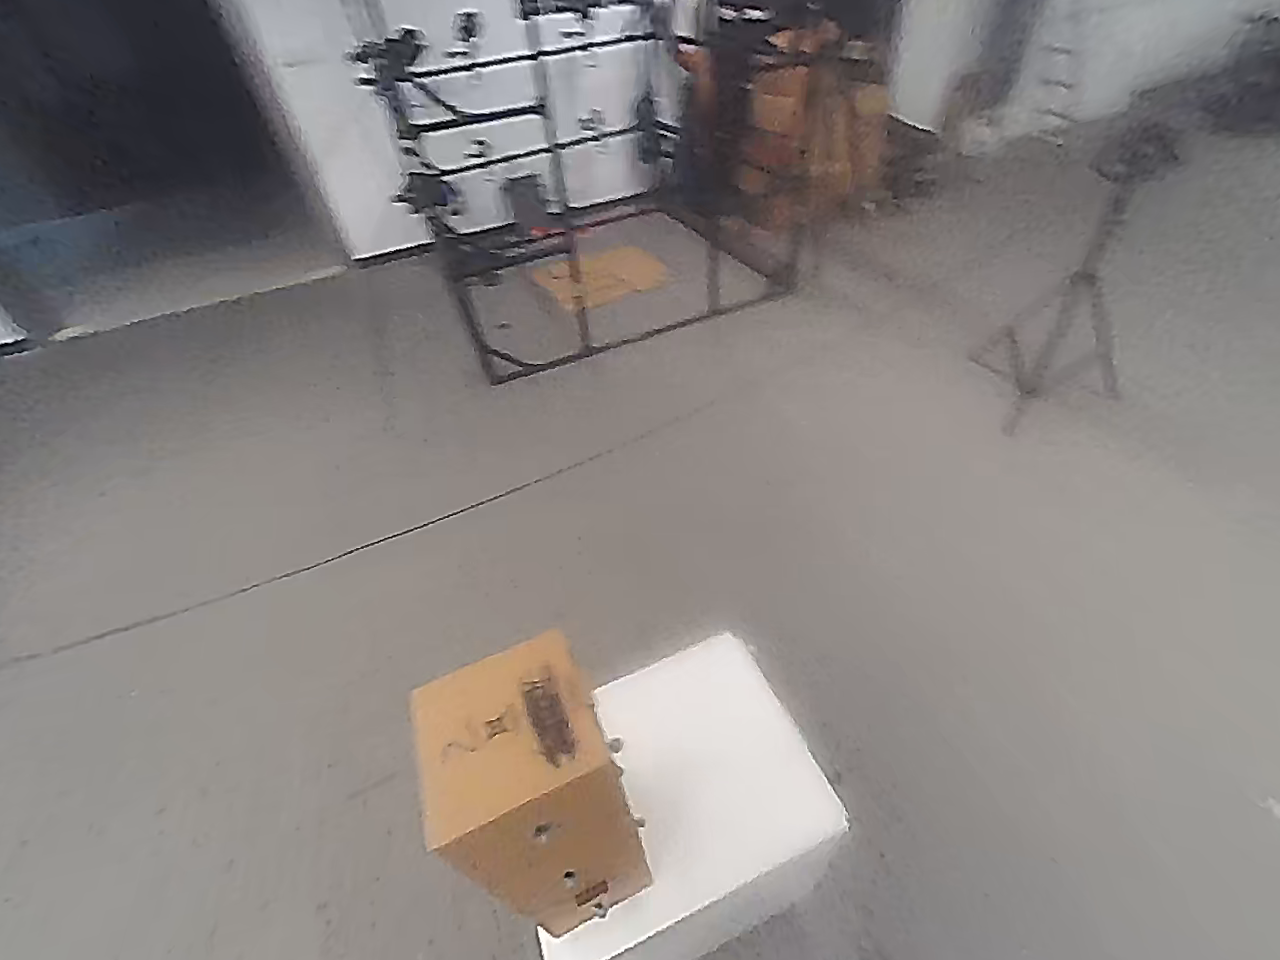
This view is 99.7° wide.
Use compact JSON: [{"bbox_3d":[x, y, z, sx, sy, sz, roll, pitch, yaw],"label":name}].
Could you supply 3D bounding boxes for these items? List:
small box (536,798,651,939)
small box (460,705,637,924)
[{"bbox_3d":[-0.094,0.549,0.822,0.168,0.176,0.179,-21,45,-13],"label":"small box"},{"bbox_3d":[-0.111,0.434,0.705,0.179,0.176,0.168,-21,44,-12],"label":"small box"}]
